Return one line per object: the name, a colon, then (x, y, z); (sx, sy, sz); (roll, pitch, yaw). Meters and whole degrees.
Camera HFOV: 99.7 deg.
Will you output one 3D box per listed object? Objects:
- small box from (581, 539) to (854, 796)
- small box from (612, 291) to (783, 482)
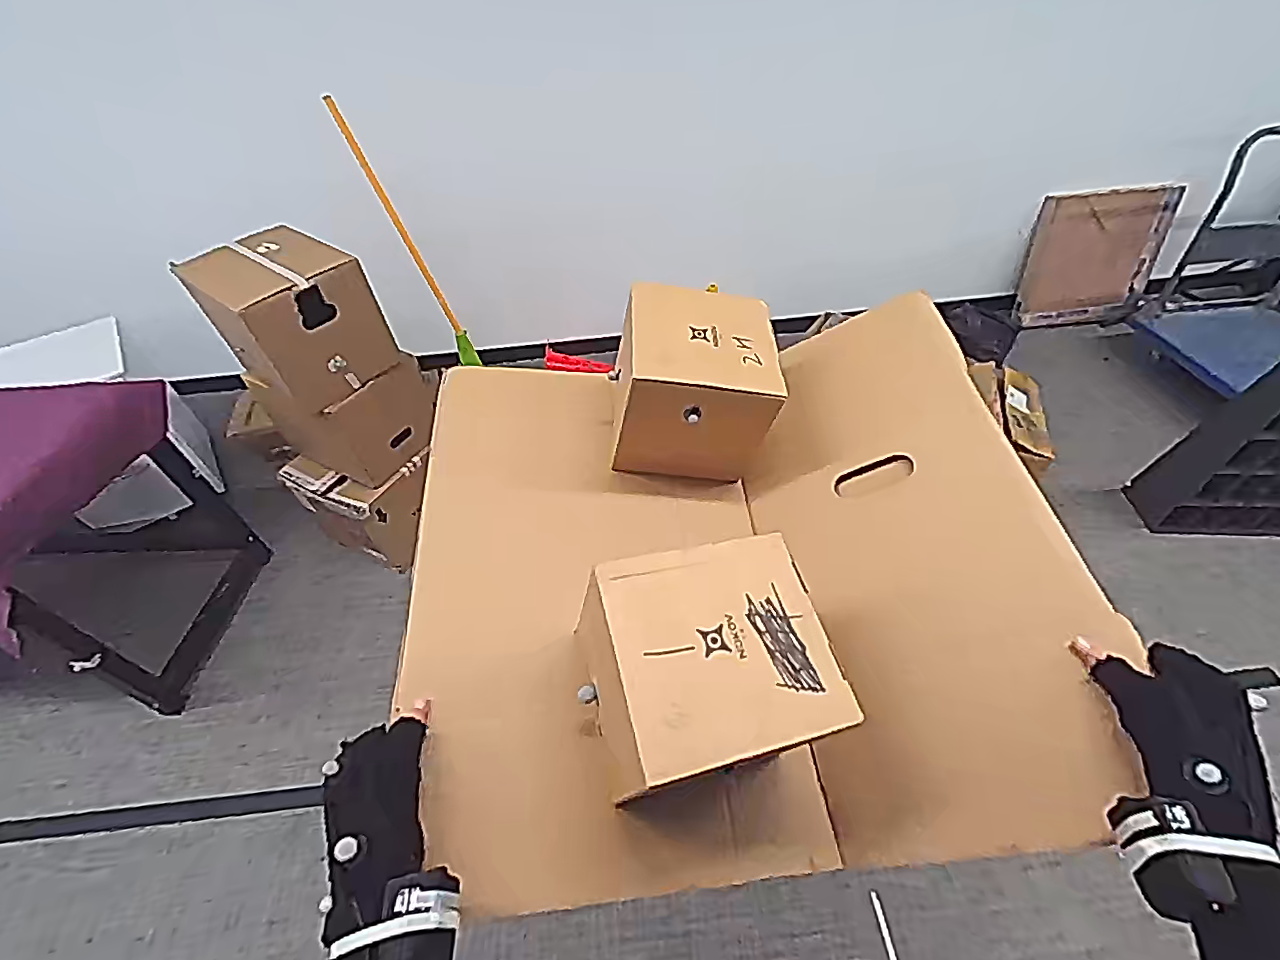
small box: (0.051, 0.174, 0.497); (0.179, 0.176, 0.168); (-8, 58, -16)
small box: (0.060, -0.113, 0.697); (0.179, 0.176, 0.168); (6, 55, -9)
